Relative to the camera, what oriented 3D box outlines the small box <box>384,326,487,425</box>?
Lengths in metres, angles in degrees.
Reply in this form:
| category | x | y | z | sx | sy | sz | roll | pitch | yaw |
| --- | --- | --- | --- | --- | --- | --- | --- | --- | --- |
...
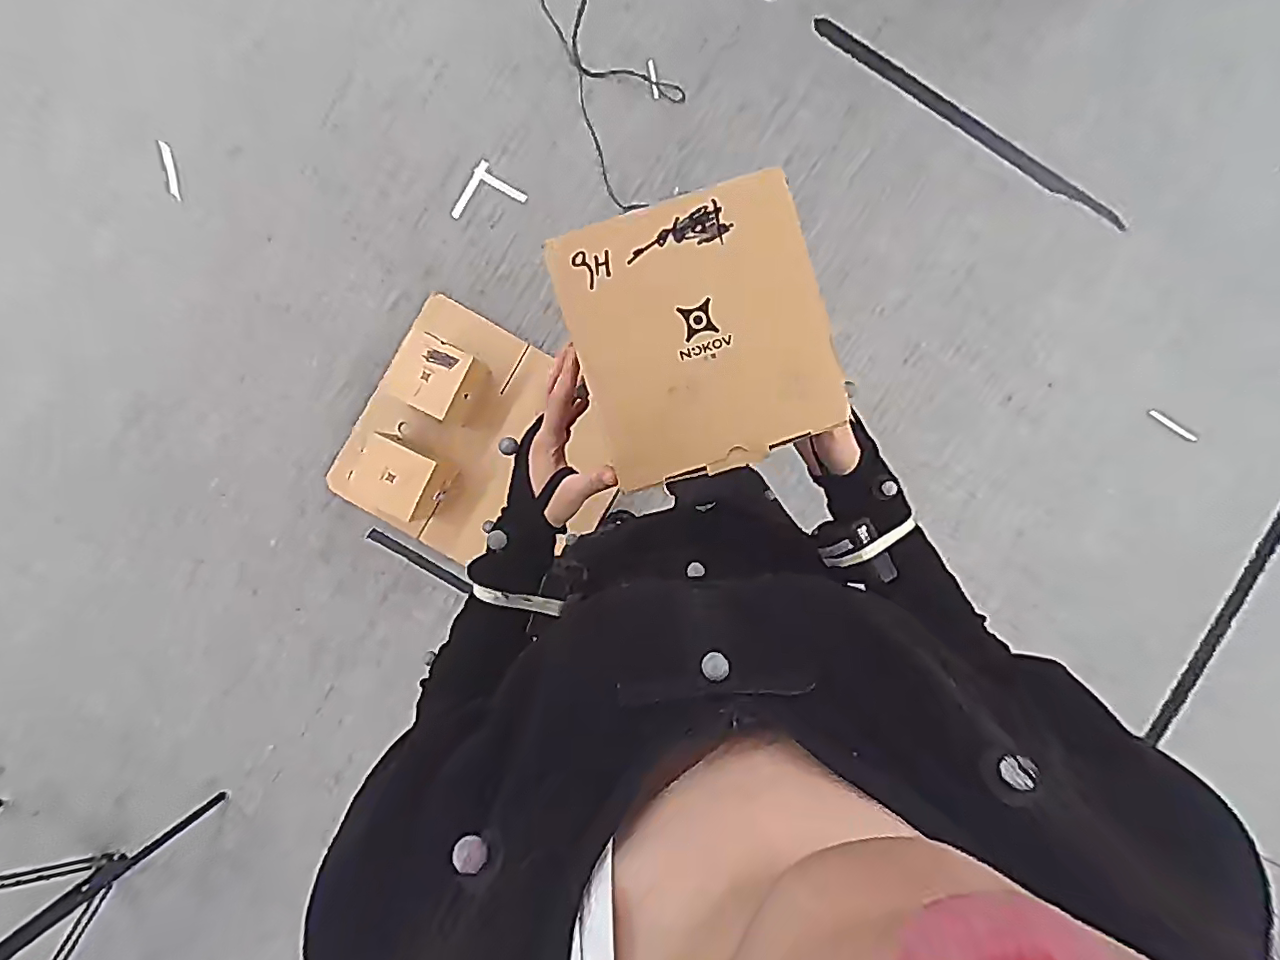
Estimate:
| category | x | y | z | sx | sy | sz | roll | pitch | yaw |
| --- | --- | --- | --- | --- | --- | --- | --- | --- | --- |
| small box | -0.505 | -0.256 | 1.369 | 0.168 | 0.176 | 0.179 | 26 | 90 | -2 |

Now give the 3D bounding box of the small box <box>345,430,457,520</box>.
| category | x | y | z | sx | sy | sz | roll | pitch | yaw |
| --- | --- | --- | --- | --- | --- | --- | --- | --- | --- |
| small box | -0.596 | -0.012 | 1.371 | 0.179 | 0.176 | 0.168 | 25 | 91 | -3 |

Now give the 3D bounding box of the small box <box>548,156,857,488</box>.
| category | x | y | z | sx | sy | sz | roll | pitch | yaw |
| --- | --- | --- | --- | --- | --- | --- | --- | --- | --- |
| small box | 0.041 | -0.108 | 0.427 | 0.168 | 0.176 | 0.179 | -17 | 96 | 0 |
